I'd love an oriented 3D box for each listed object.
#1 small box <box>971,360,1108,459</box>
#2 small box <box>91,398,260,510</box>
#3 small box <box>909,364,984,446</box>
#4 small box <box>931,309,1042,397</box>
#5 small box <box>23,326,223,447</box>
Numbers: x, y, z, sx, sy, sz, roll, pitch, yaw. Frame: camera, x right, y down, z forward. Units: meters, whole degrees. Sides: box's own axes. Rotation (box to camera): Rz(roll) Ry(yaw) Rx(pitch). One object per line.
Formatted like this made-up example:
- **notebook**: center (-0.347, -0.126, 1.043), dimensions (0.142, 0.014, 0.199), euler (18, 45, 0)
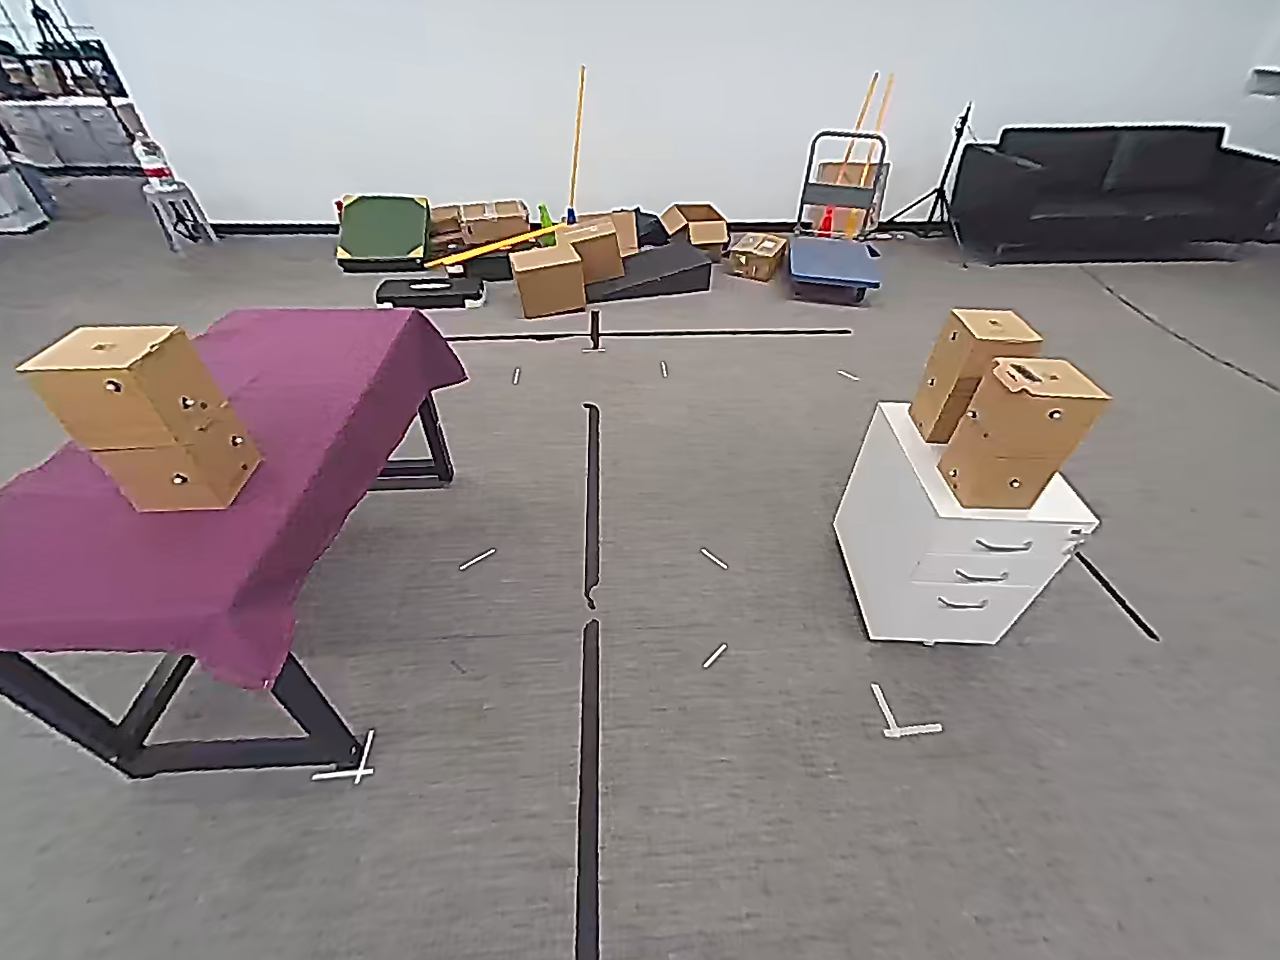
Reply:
- **small box**: center (0.901, -0.162, 1.249), dimensions (0.179, 0.176, 0.168), euler (2, 42, -1)
- **small box**: center (-0.932, -0.053, 1.111), dimensions (0.179, 0.176, 0.168), euler (-2, 41, -3)
- **small box**: center (0.910, -0.214, 1.553), dimensions (0.179, 0.176, 0.168), euler (3, 42, 0)
- **small box**: center (0.910, -0.337, 1.442), dimensions (0.168, 0.176, 0.179), euler (2, 42, 1)
- **small box**: center (-0.934, -0.171, 1.001), dimensions (0.179, 0.176, 0.168), euler (-2, 41, -6)
